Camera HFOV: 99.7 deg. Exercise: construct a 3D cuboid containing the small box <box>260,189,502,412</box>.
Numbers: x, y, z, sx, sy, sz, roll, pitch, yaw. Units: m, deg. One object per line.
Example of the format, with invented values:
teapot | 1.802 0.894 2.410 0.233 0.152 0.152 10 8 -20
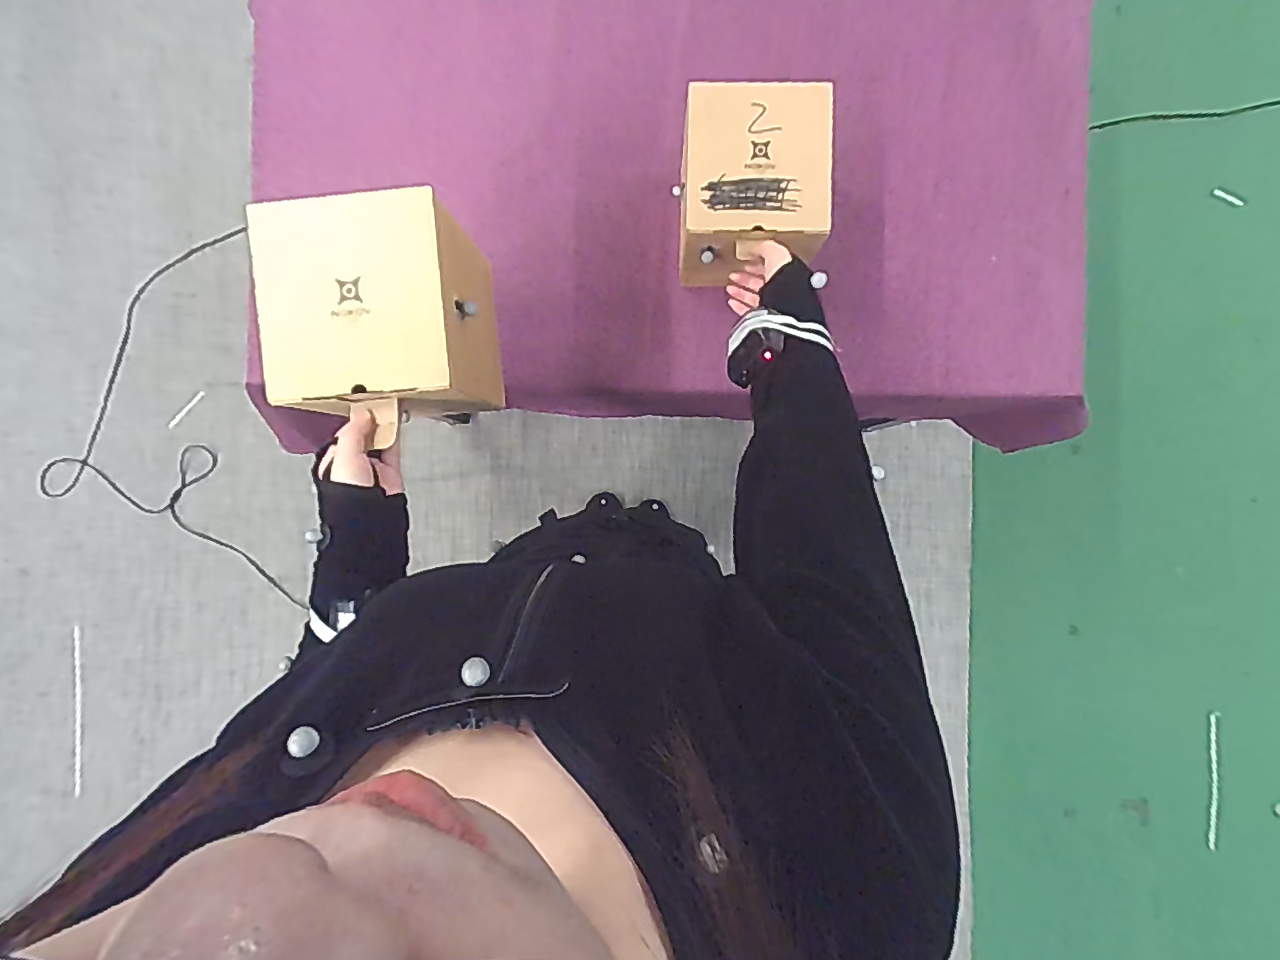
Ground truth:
small box | -0.252 -0.170 0.564 0.168 0.176 0.179 -5 93 2
